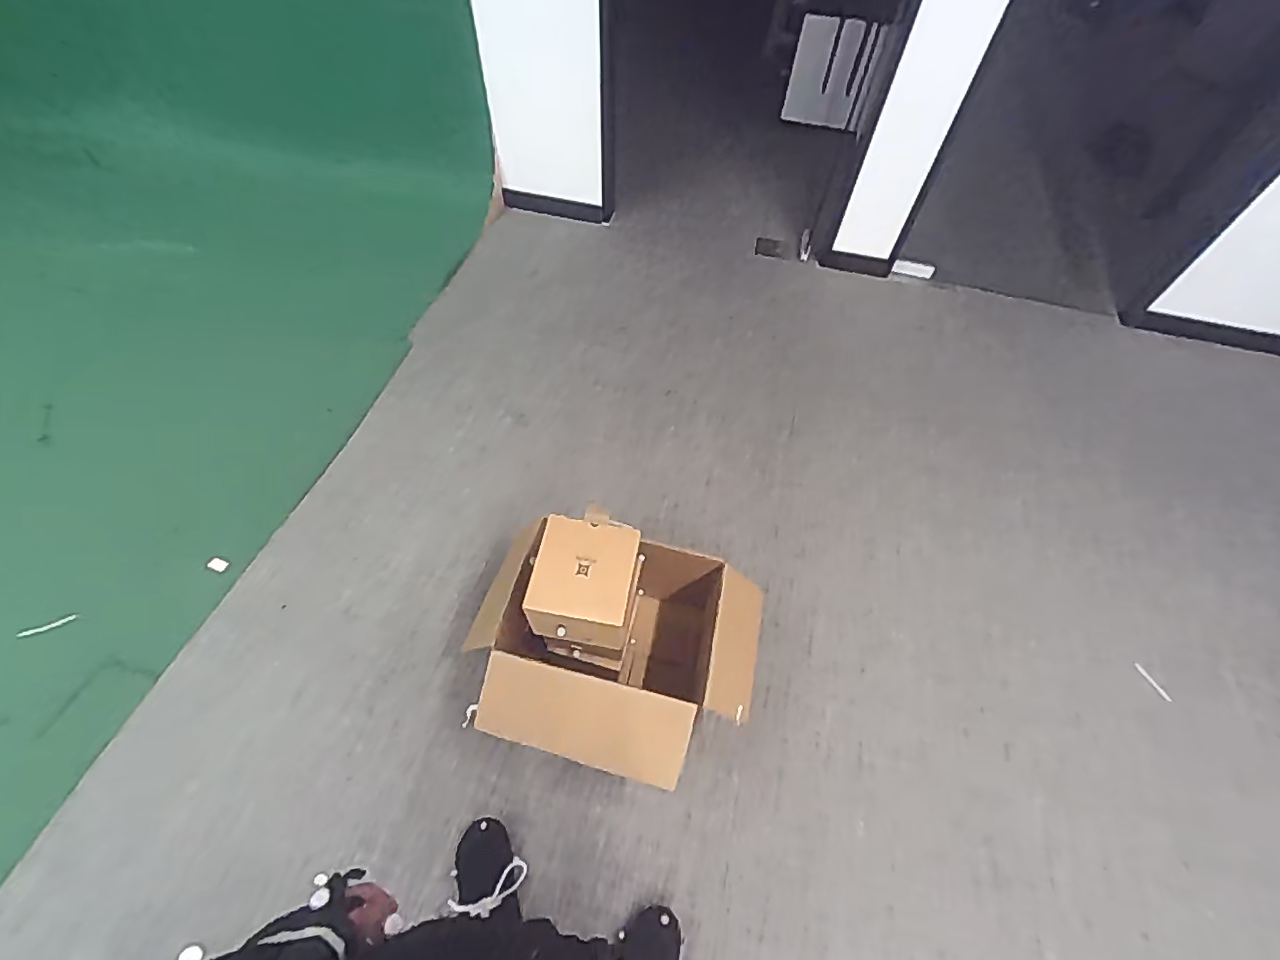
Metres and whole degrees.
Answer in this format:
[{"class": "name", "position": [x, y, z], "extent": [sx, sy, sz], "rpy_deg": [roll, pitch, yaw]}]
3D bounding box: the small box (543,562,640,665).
[{"class": "small box", "position": [-0.103, 0.261, 1.110], "extent": [0.168, 0.176, 0.179], "rpy_deg": [12, 60, 3]}]

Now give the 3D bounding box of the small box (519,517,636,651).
[{"class": "small box", "position": [-0.102, 0.191, 0.963], "extent": [0.168, 0.176, 0.179], "rpy_deg": [9, 58, 3]}]
